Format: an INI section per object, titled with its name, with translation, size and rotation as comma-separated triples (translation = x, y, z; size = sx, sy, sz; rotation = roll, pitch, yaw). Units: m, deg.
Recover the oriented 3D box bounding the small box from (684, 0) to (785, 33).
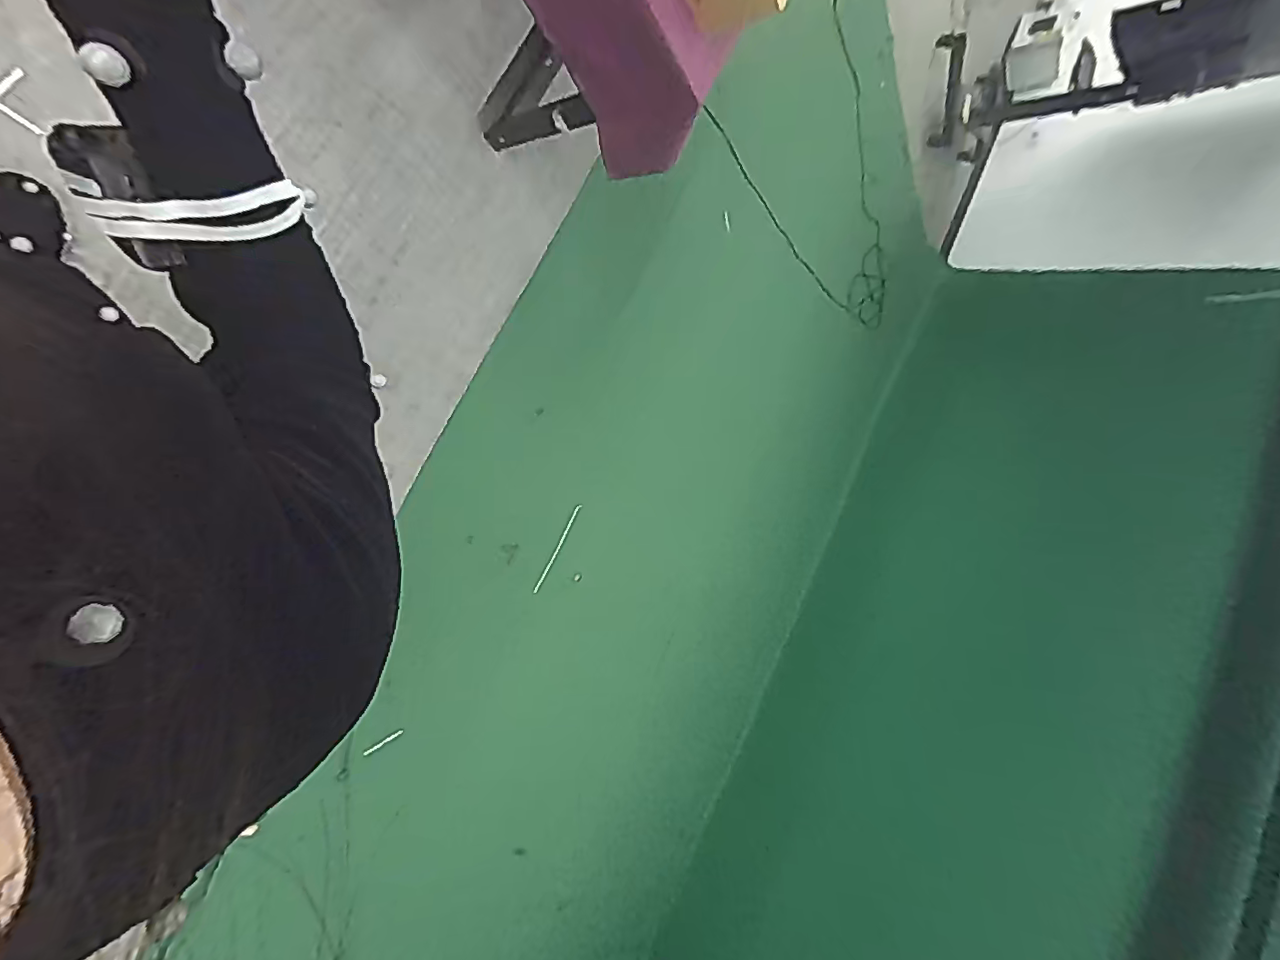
[small box]
translation = 0.169, -0.937, 0.949
size = 0.179, 0.176, 0.168
rotation = 36, 76, -48
